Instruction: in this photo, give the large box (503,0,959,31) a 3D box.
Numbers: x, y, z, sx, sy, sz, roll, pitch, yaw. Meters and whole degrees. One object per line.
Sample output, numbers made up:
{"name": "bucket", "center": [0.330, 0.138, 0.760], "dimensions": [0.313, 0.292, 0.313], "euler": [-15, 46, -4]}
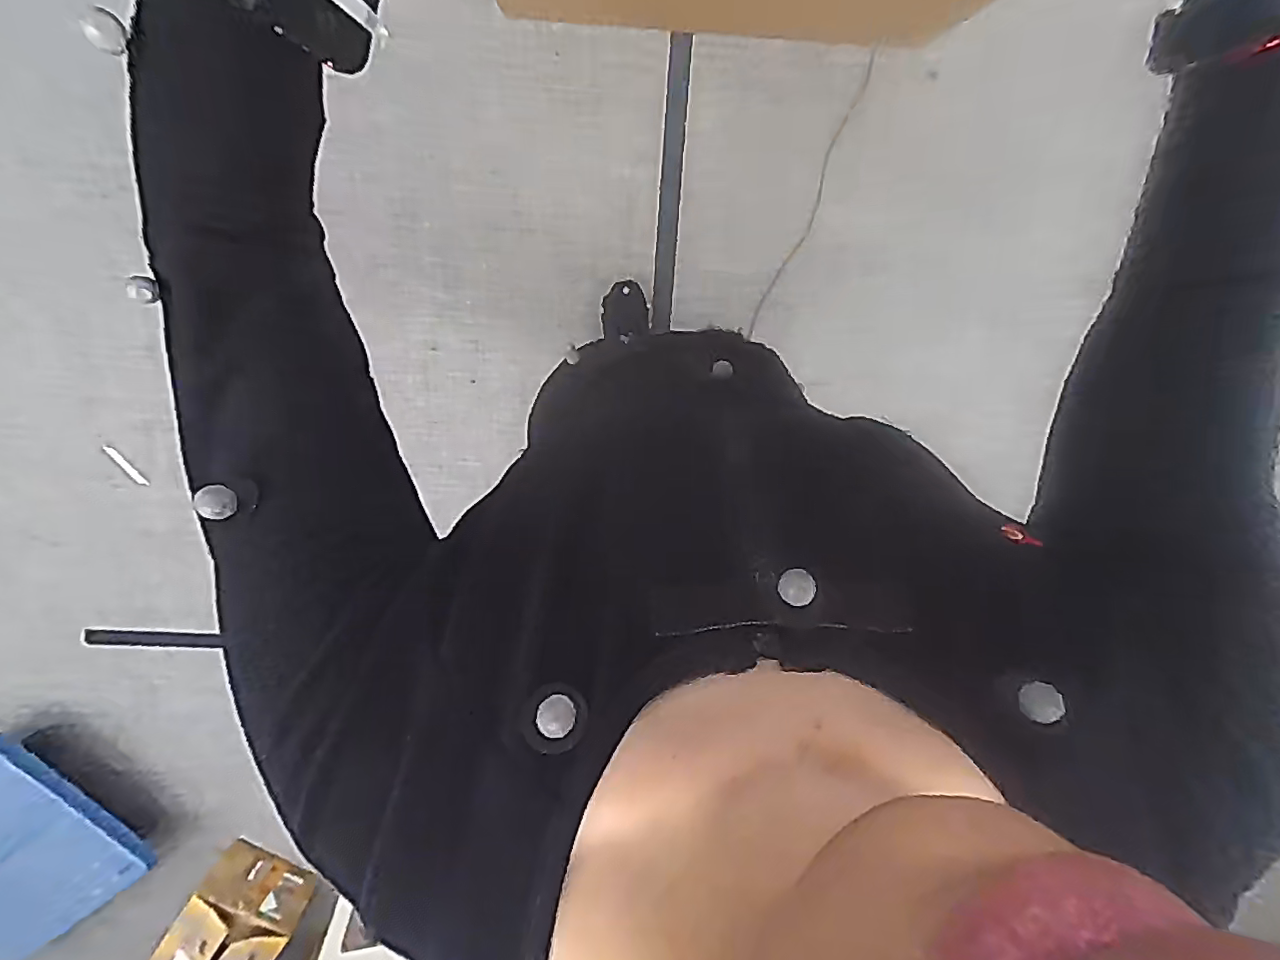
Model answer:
{"name": "large box", "center": [0.083, -0.510, 0.314], "dimensions": [0.408, 0.320, 0.320], "euler": [1, 115, -3]}
